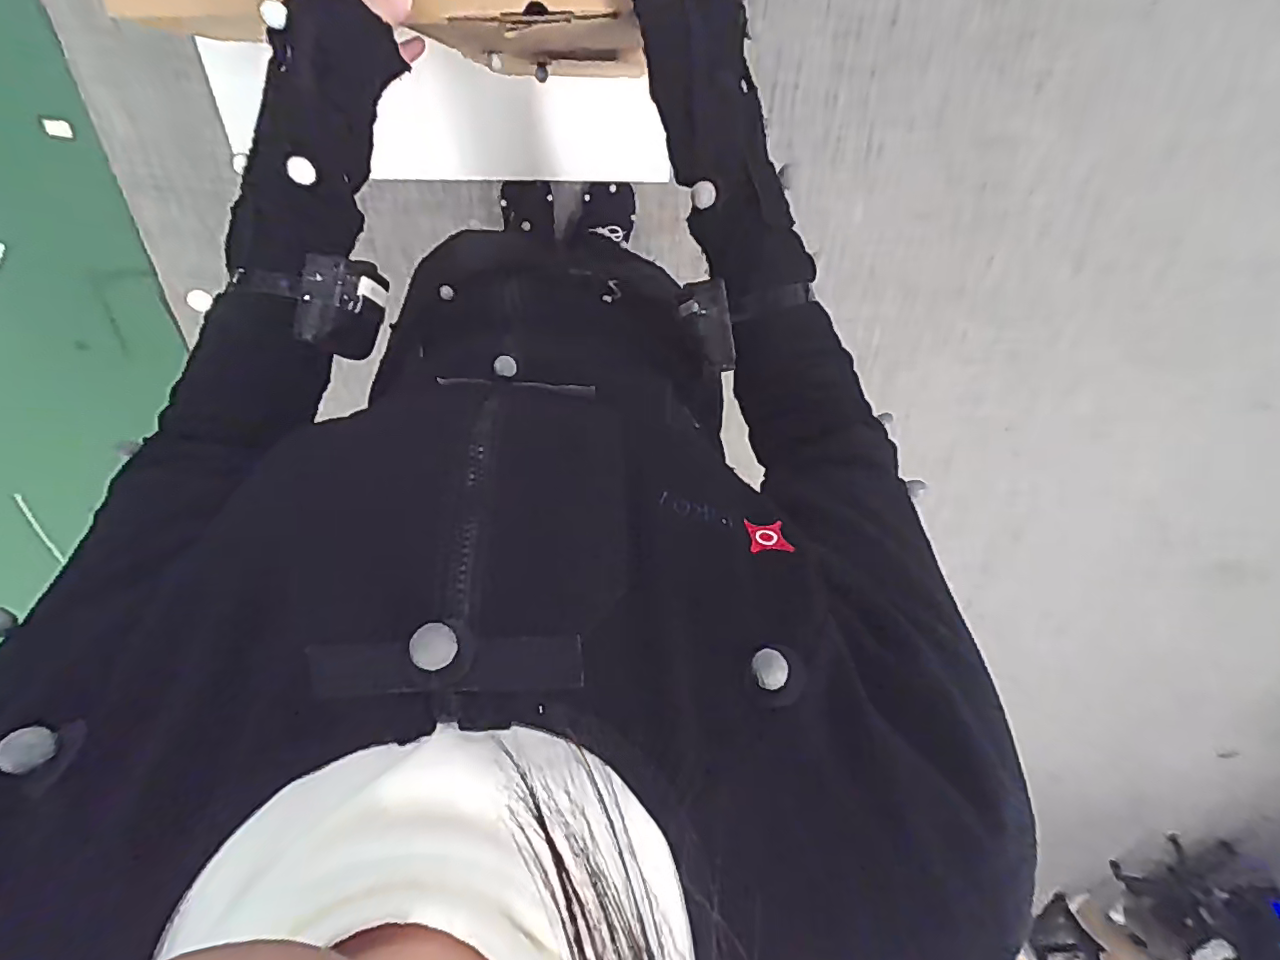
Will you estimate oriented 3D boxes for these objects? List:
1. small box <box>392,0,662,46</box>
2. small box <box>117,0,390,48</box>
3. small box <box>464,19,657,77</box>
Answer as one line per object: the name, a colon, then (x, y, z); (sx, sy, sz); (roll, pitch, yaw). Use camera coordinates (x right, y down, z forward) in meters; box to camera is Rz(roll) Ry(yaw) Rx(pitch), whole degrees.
small box: (-0.069, -0.393, 0.342); (0.168, 0.176, 0.179); (-3, 123, 0)
small box: (-0.345, -0.494, 0.467); (0.168, 0.176, 0.179); (-2, 125, 0)
small box: (-0.069, -0.479, 0.484); (0.168, 0.176, 0.179); (0, 123, -1)
